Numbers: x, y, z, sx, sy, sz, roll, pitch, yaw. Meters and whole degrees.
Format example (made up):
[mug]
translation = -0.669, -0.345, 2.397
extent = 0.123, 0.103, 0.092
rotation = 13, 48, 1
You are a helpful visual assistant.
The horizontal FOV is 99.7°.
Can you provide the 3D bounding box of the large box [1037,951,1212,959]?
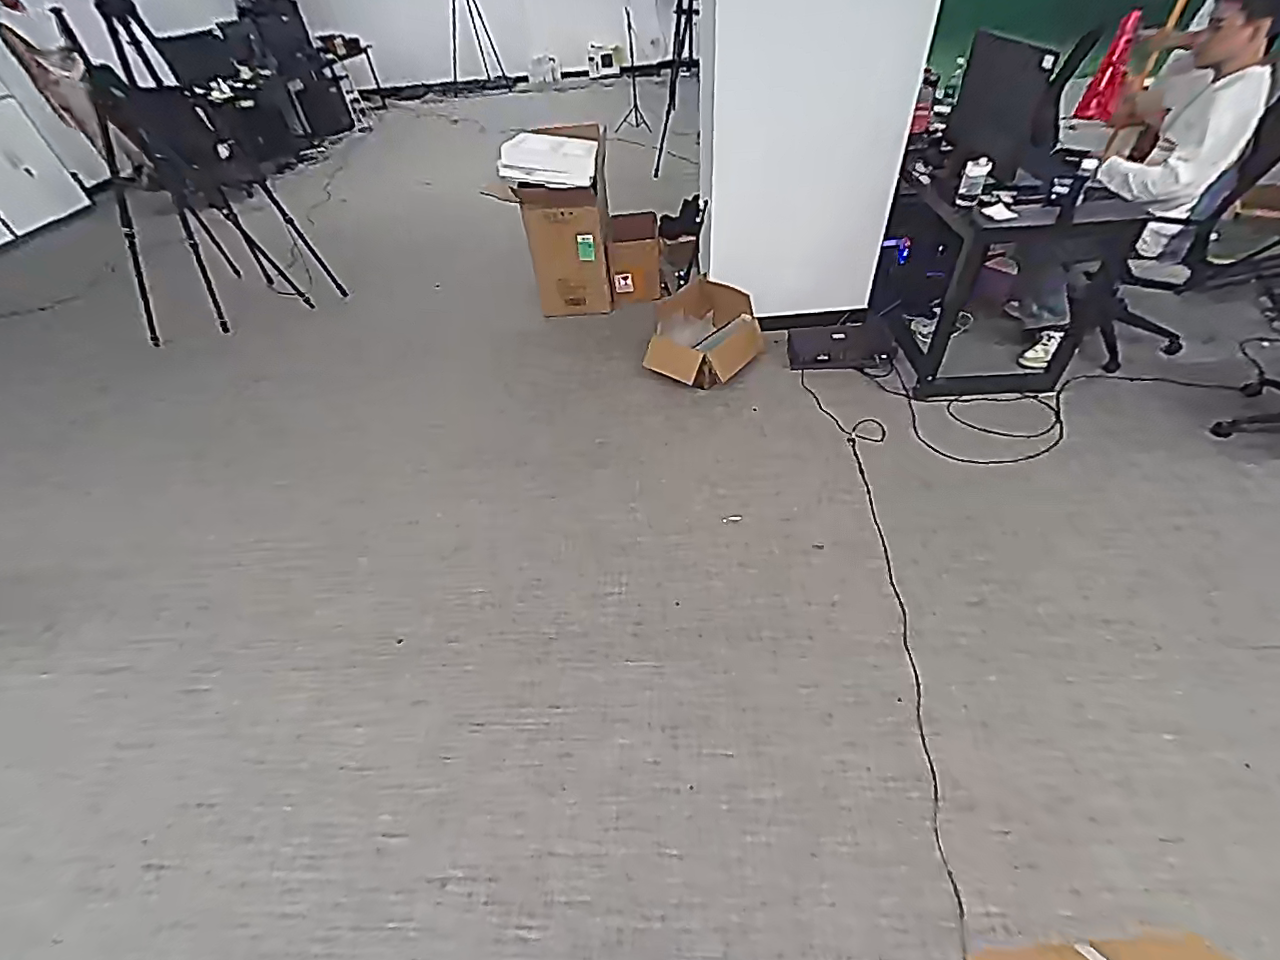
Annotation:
[large box]
translation = 0.620, 0.764, 0.525
extent = 0.320, 0.408, 0.320
rotation = -9, 75, 3
